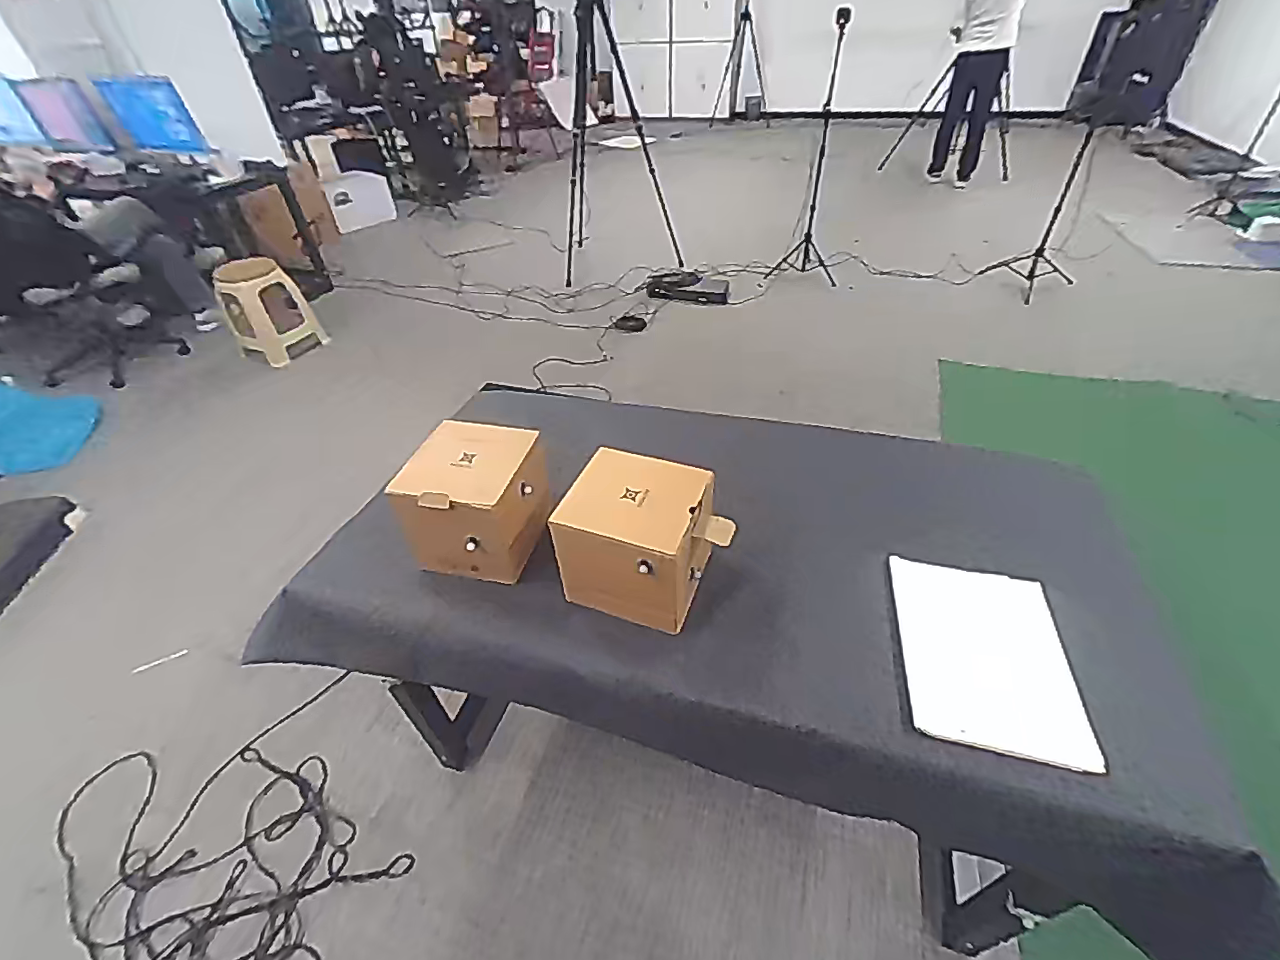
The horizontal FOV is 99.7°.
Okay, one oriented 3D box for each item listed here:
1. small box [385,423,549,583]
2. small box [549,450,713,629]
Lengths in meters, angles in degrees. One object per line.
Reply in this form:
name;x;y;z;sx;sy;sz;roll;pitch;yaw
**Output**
small box;-0.251;0.035;0.837;0.168;0.176;0.179;7;41;10
small box;-0.006;0.084;0.766;0.179;0.176;0.168;13;43;17
